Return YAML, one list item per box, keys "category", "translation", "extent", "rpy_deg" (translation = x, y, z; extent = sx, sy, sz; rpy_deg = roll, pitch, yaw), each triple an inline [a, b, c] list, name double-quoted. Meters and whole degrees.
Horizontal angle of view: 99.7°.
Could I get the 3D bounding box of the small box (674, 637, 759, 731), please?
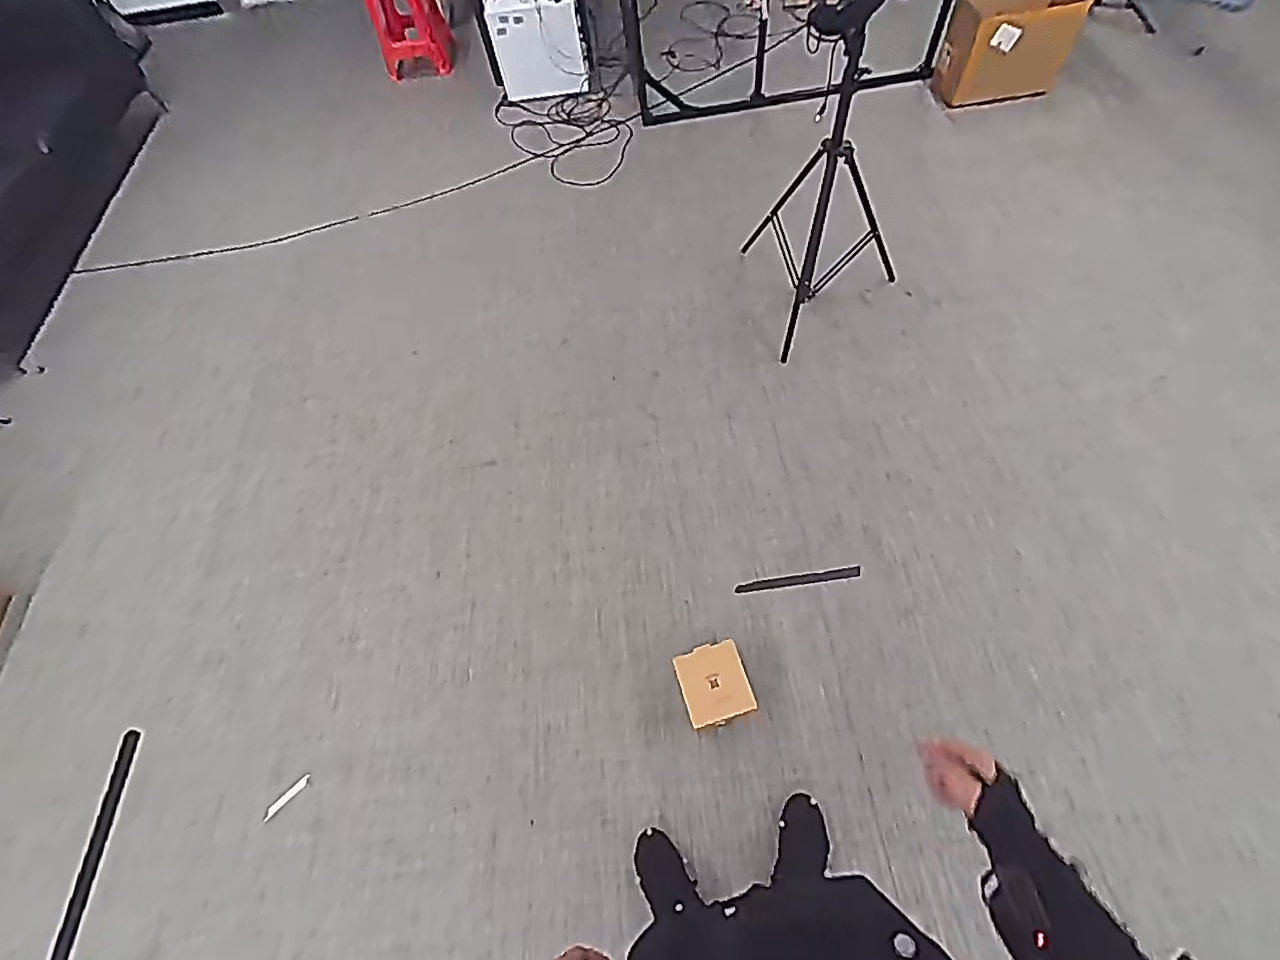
- category: "small box"
  translation: [0.193, 0.532, 1.399]
  extent: [0.168, 0.176, 0.179]
  rpy_deg: [-18, 61, -2]
